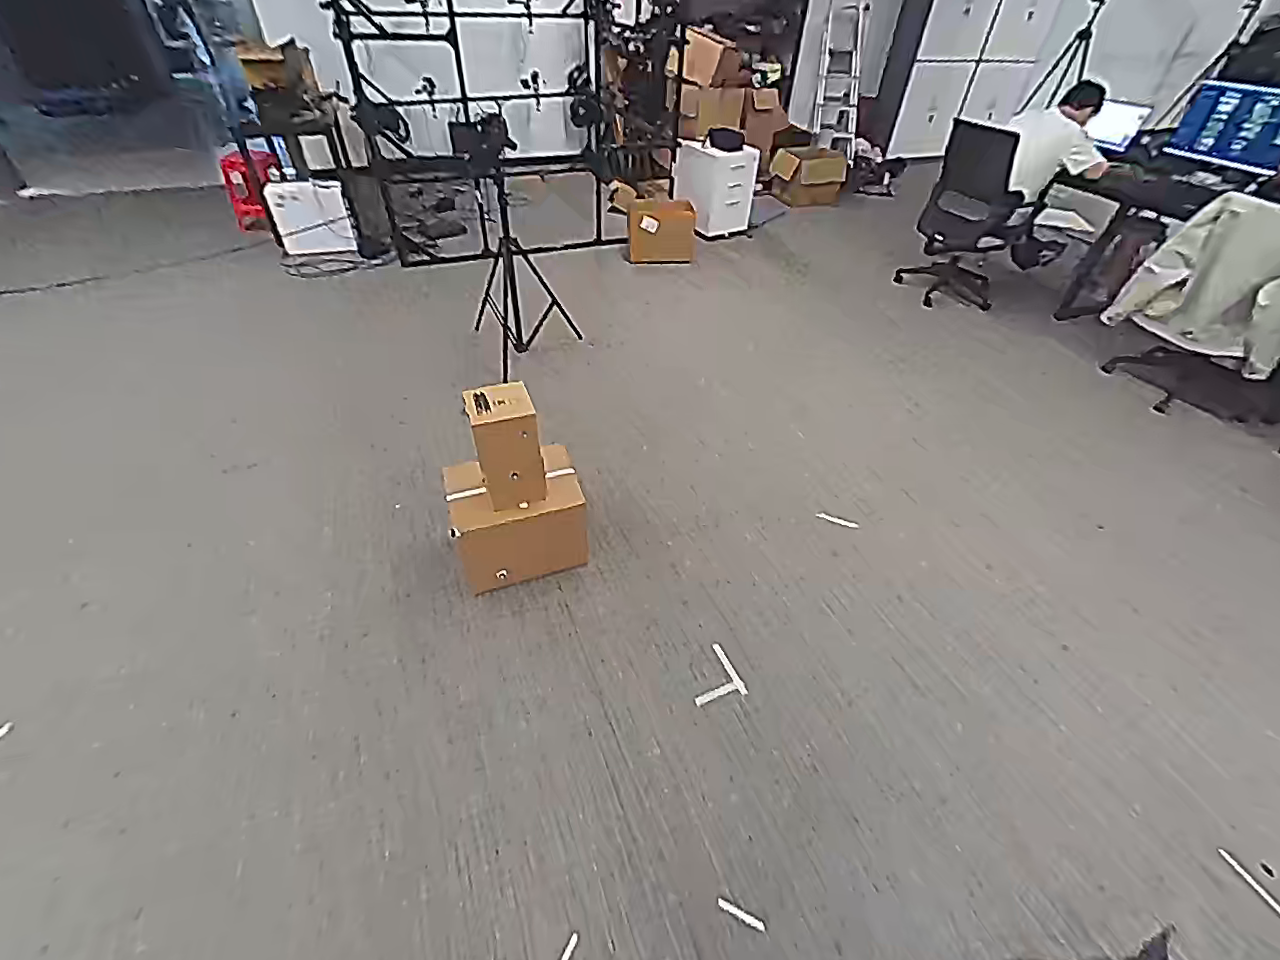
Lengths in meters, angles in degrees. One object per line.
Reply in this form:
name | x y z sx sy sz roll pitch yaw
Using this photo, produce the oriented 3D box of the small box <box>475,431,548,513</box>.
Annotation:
small box | -0.391 -0.023 1.661 0.179 0.176 0.168 -14 47 -19
